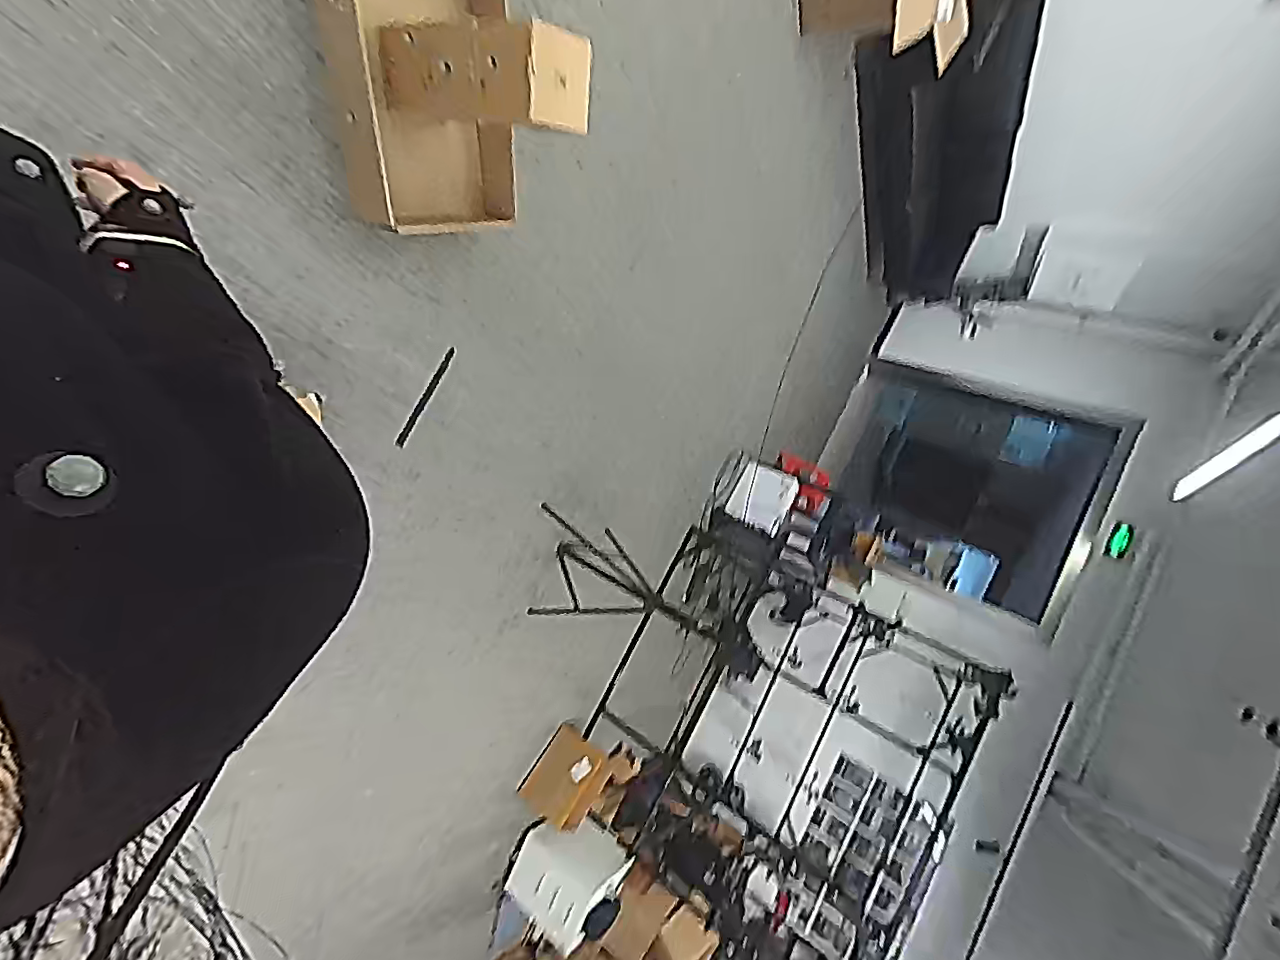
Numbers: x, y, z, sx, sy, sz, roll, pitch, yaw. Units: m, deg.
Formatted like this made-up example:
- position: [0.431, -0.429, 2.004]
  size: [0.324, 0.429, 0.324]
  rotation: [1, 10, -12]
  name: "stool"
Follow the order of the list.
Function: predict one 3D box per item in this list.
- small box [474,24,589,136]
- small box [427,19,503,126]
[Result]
- position: [-0.233, -0.853, 1.161]
  size: [0.179, 0.176, 0.168]
  rotation: [-29, 135, -48]
  name: "small box"
- position: [-0.367, -0.915, 1.231]
  size: [0.179, 0.176, 0.168]
  rotation: [-27, 134, -48]
  name: "small box"
